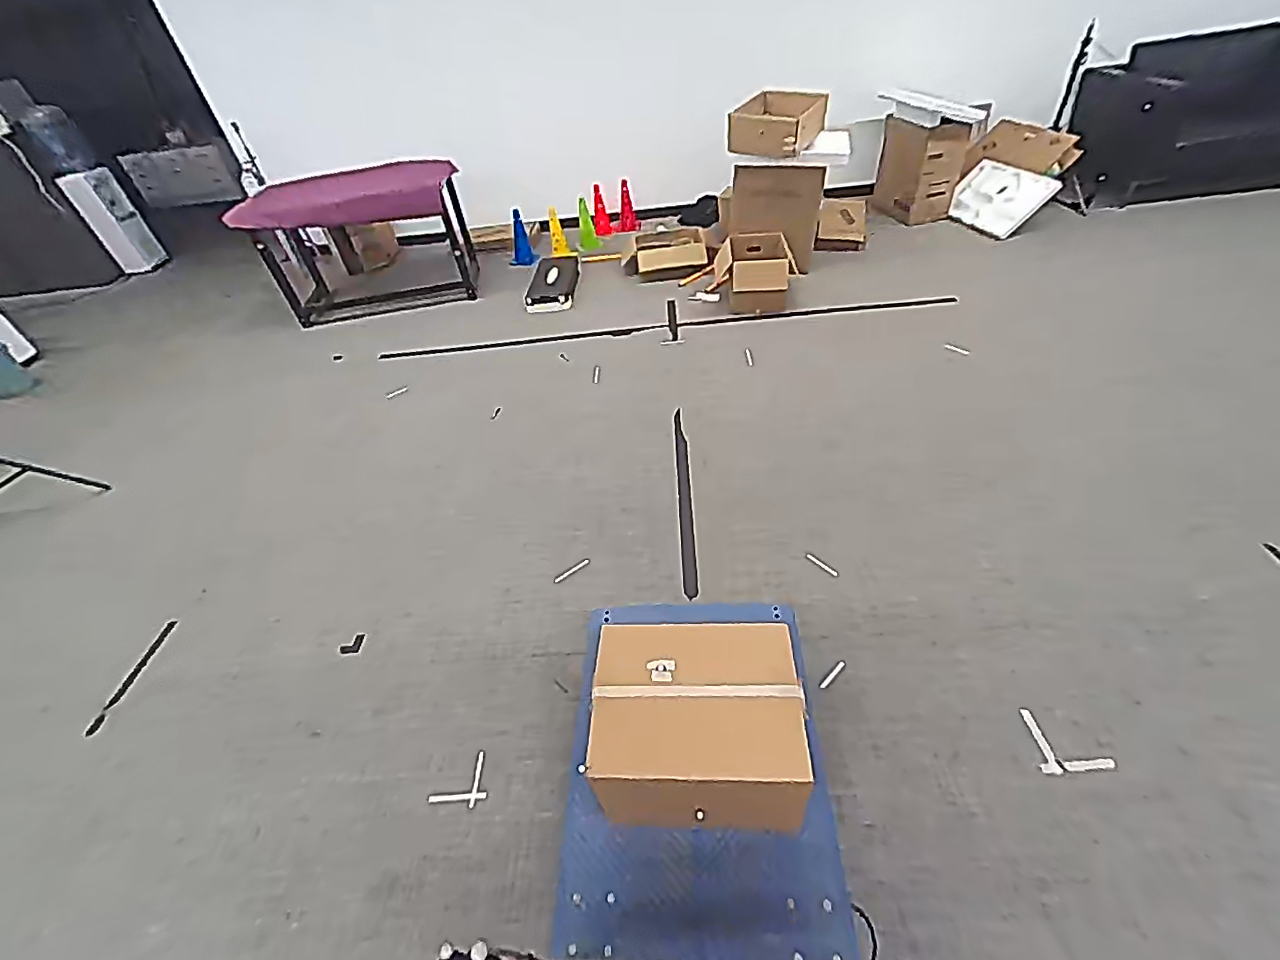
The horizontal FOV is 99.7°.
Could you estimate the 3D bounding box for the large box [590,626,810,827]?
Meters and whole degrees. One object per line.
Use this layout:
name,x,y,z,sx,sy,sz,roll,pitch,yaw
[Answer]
large box,0.128,0.542,1.180,0.408,0.320,0.320,-4,42,7
